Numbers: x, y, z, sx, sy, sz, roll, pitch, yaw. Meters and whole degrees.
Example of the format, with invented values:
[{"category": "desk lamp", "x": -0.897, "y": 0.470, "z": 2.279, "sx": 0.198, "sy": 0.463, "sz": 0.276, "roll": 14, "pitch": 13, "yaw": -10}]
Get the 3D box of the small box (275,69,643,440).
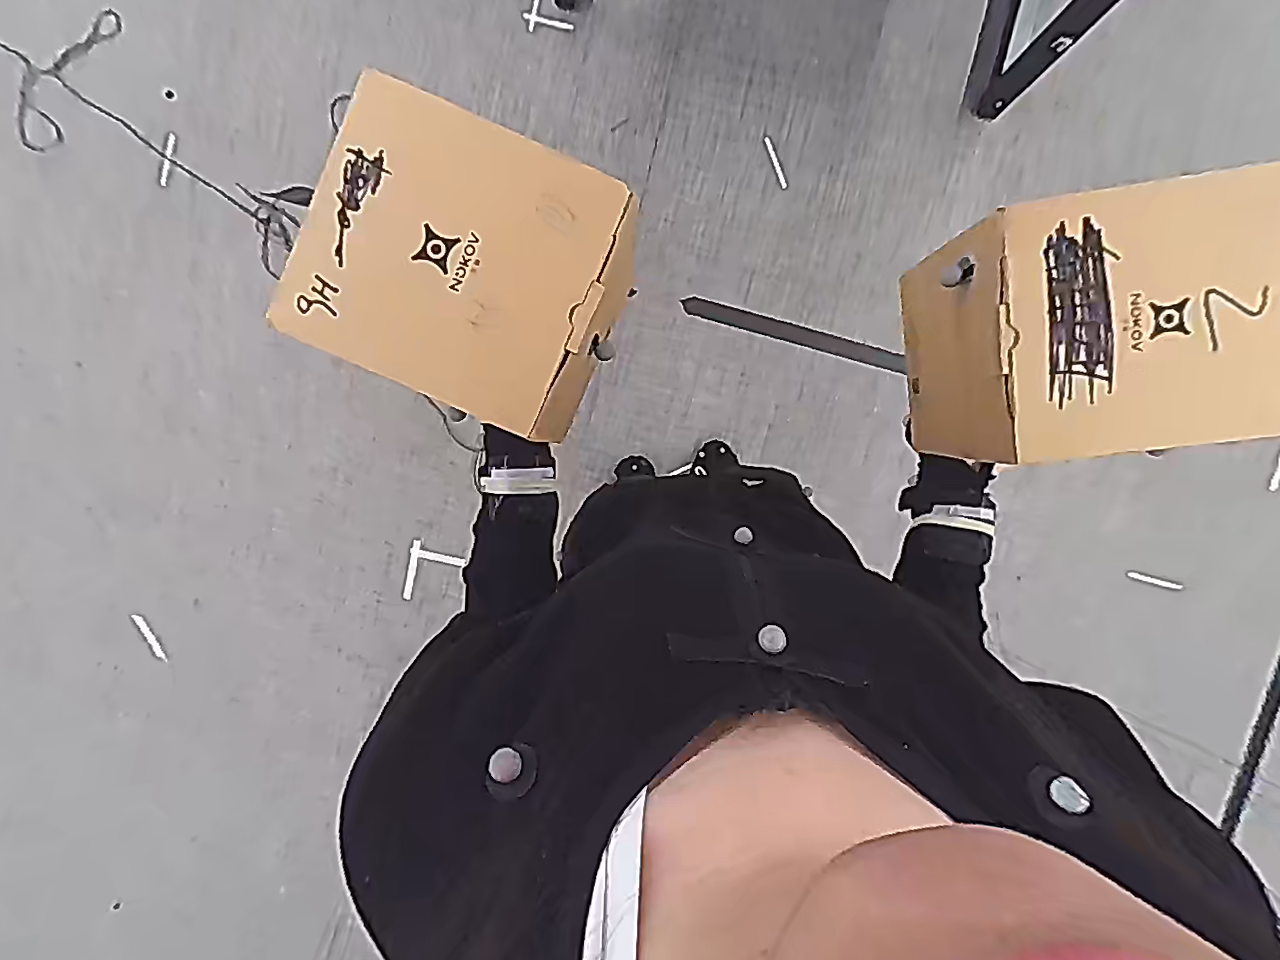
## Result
[{"category": "small box", "x": -0.111, "y": -0.139, "z": 0.404, "sx": 0.179, "sy": 0.176, "sz": 0.168, "roll": 23, "pitch": 92, "yaw": -4}]
